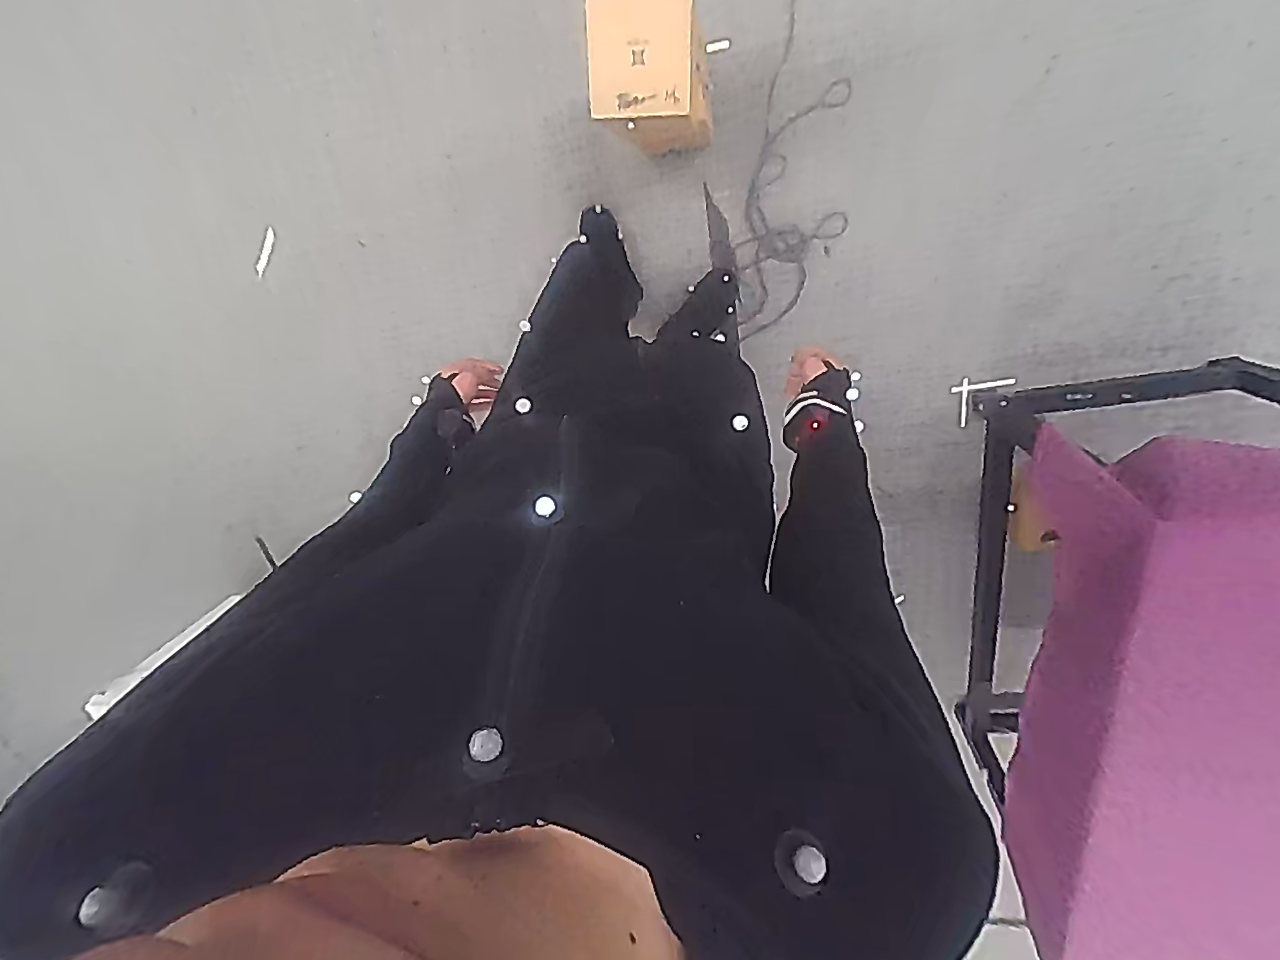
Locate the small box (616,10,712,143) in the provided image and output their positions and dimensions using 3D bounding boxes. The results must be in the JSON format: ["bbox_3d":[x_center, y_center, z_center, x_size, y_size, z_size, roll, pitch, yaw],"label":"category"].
[{"bbox_3d":[0.044,-0.776,1.056,0.179,0.176,0.168,-3,114,12],"label":"small box"}]

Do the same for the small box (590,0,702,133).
[{"bbox_3d":[0.015,-0.704,0.911,0.168,0.176,0.179,4,115,9],"label":"small box"}]

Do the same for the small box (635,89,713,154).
[{"bbox_3d":[0.070,-0.846,1.200,0.168,0.176,0.179,-4,115,13],"label":"small box"}]
